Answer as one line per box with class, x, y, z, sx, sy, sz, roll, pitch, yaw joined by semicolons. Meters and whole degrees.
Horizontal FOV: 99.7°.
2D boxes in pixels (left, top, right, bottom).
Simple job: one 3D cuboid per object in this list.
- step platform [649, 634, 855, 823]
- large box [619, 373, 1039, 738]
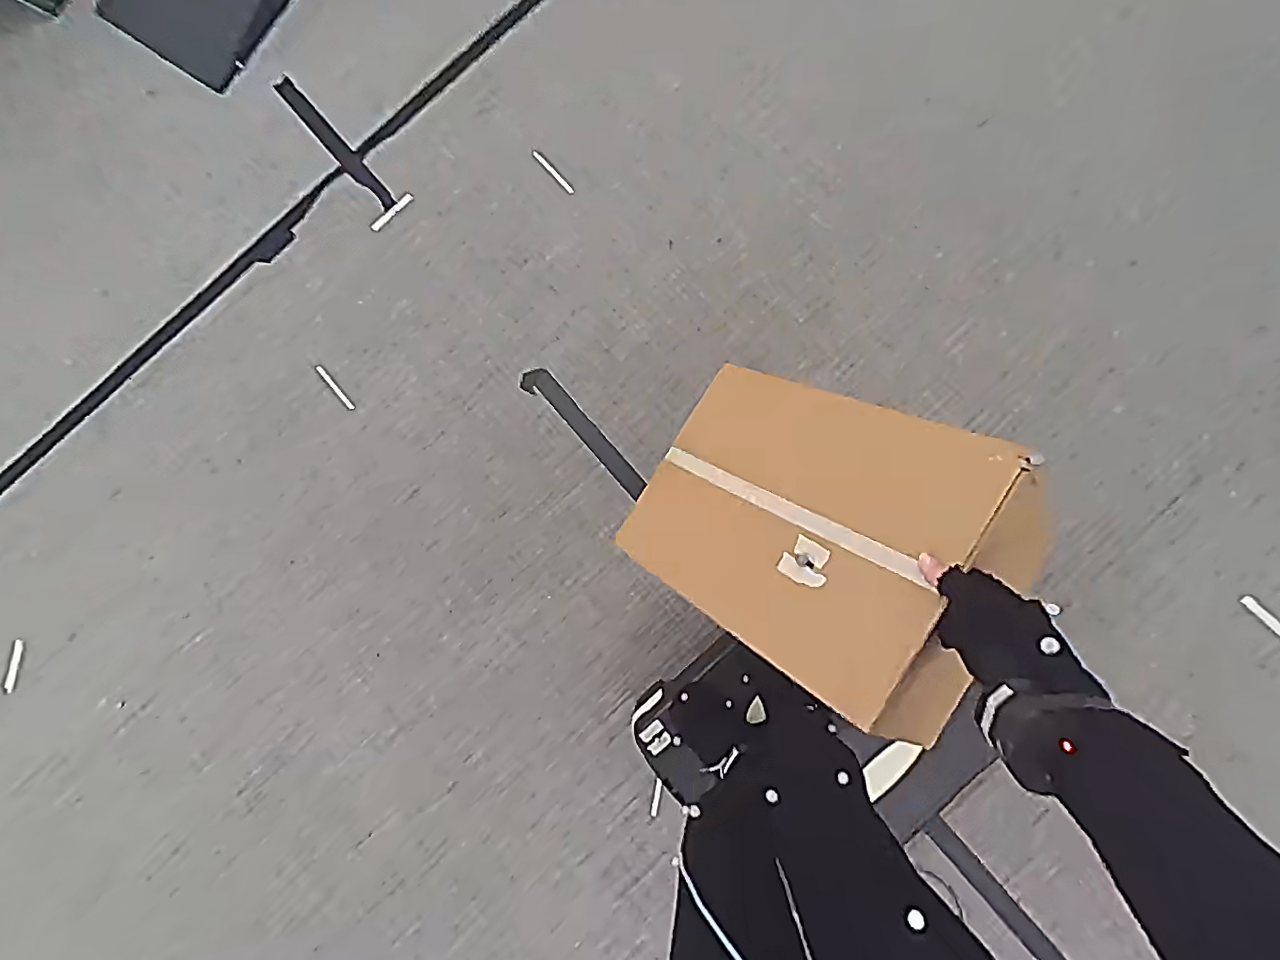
step platform;0.341;0.384;1.174;0.684;0.204;0.286;-43;83;-2
large box;0.255;0.094;0.752;0.408;0.320;0.320;28;88;43
